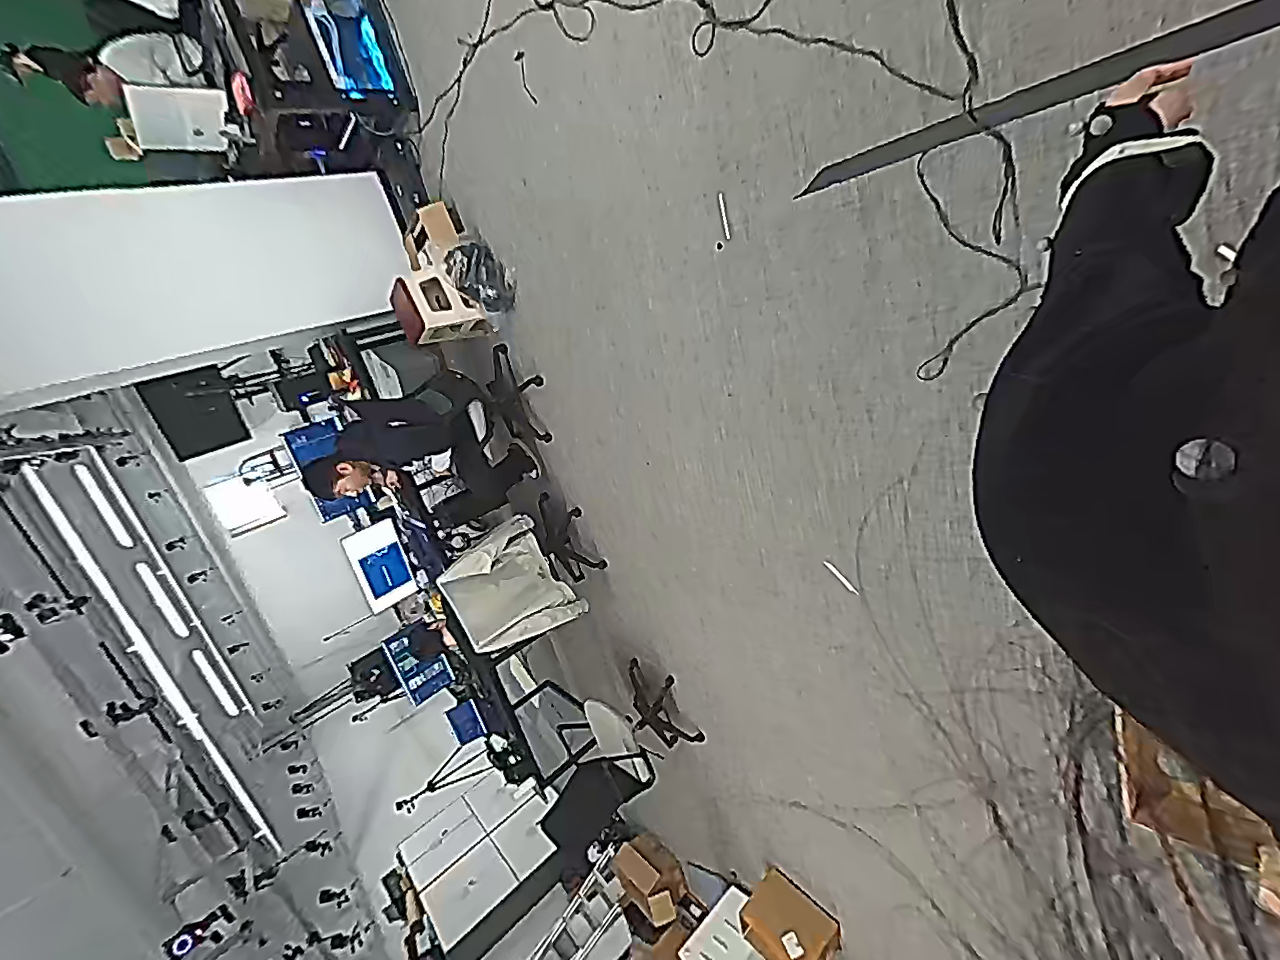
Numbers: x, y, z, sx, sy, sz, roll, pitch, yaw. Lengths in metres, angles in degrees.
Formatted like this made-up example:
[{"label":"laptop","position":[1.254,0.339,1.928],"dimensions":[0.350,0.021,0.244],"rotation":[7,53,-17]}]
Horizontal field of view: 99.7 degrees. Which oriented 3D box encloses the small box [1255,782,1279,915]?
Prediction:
[{"label":"small box","position":[1.282,0.719,1.010],"dimensions":[0.168,0.176,0.179],"rotation":[1,115,52]}]
